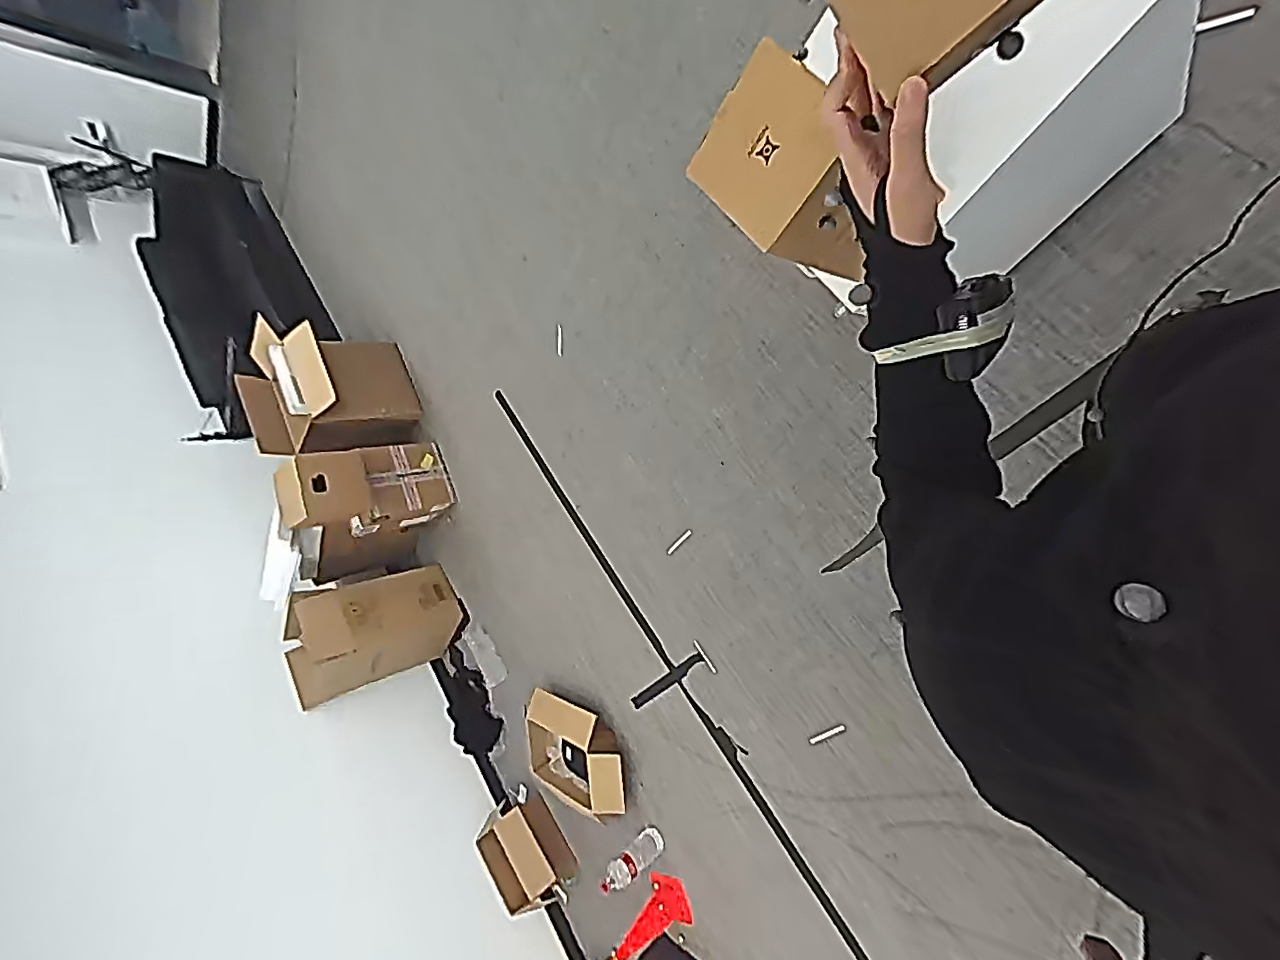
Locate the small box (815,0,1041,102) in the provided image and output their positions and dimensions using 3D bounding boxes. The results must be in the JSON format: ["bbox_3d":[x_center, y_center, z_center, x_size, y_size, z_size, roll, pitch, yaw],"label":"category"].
[{"bbox_3d":[0.177,-0.356,0.313,0.168,0.176,0.179,-30,102,40],"label":"small box"}]

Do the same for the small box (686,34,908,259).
[{"bbox_3d":[0.199,-0.402,0.685,0.179,0.176,0.168,55,130,20],"label":"small box"}]

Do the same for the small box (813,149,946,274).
[{"bbox_3d":[0.309,-0.429,0.803,0.179,0.176,0.168,56,131,20],"label":"small box"}]
